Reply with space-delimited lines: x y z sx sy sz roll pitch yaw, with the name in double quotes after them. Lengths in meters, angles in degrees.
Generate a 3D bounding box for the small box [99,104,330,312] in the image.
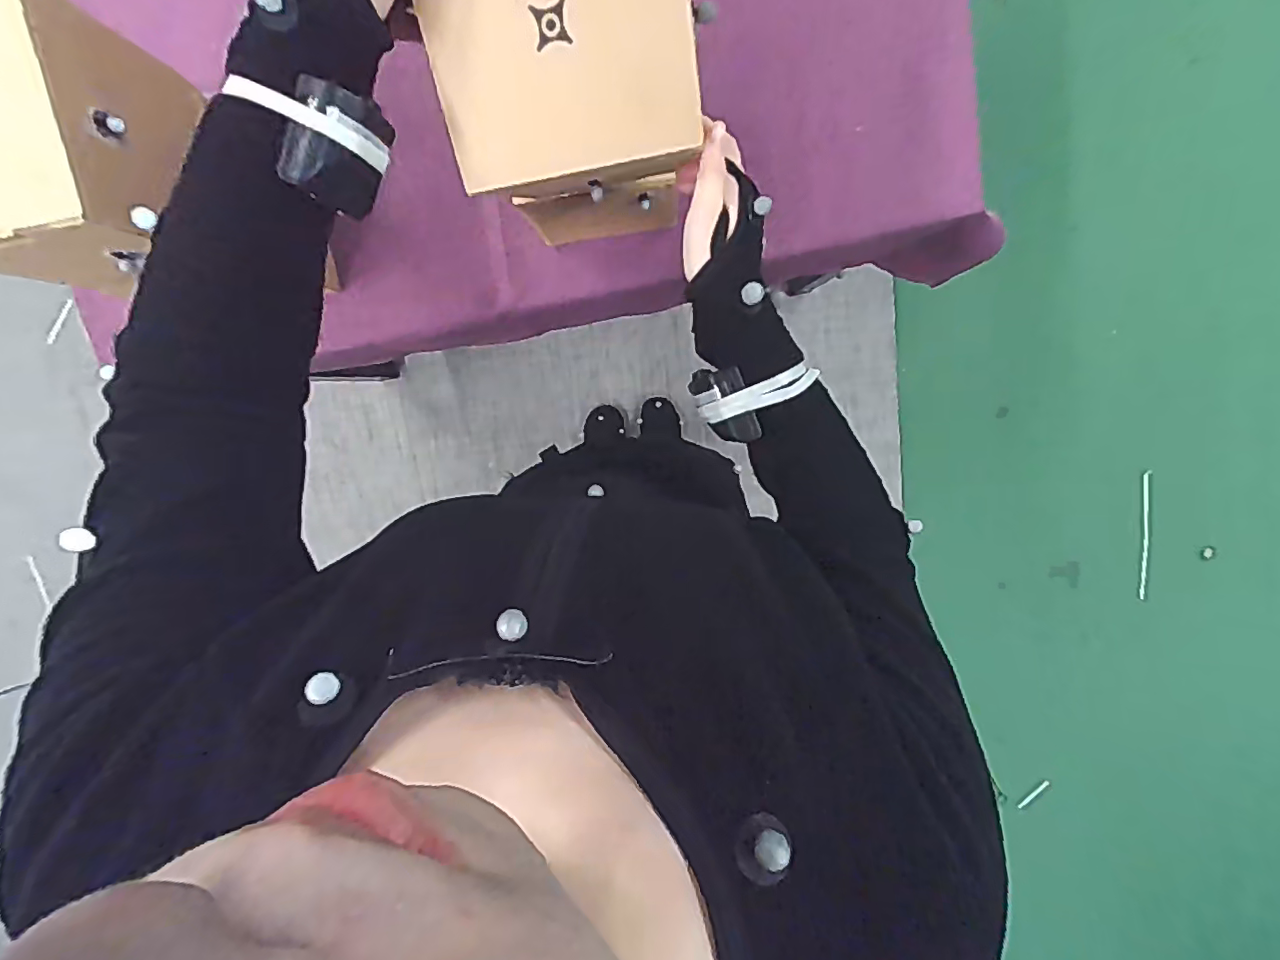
-0.501 -0.304 0.640 0.179 0.176 0.168 -9 99 2 "small box"

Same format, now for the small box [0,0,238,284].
-0.504 -0.281 0.478 0.168 0.176 0.179 -7 99 2 "small box"

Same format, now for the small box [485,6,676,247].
-0.055 -0.380 0.616 0.179 0.176 0.168 -7 100 3 "small box"
